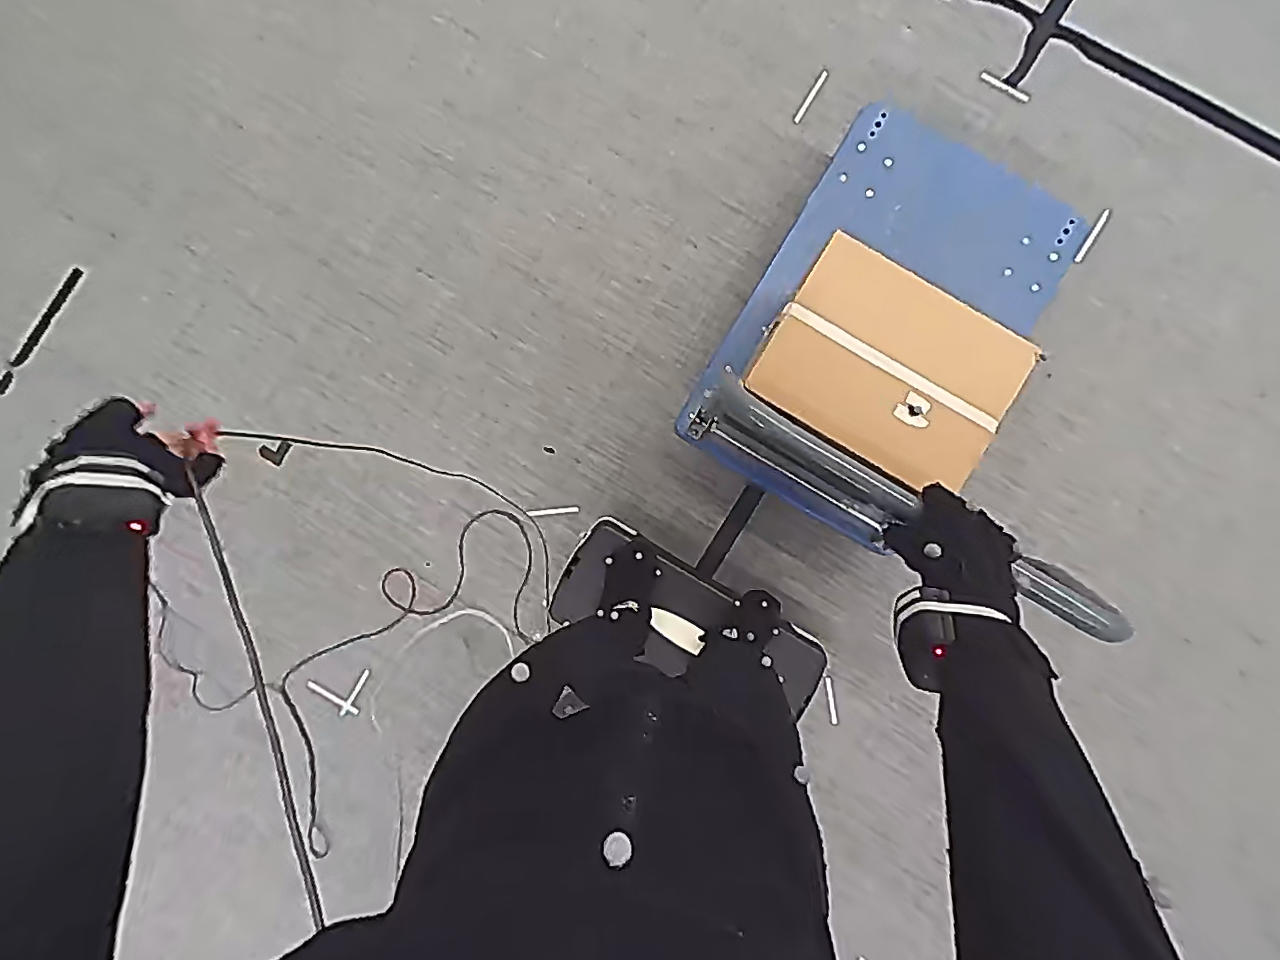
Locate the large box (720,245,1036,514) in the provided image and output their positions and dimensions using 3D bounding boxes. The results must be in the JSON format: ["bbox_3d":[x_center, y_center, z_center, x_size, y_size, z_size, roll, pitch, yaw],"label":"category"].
[{"bbox_3d":[0.419,-0.169,1.055,0.408,0.320,0.320,31,91,1],"label":"large box"}]
